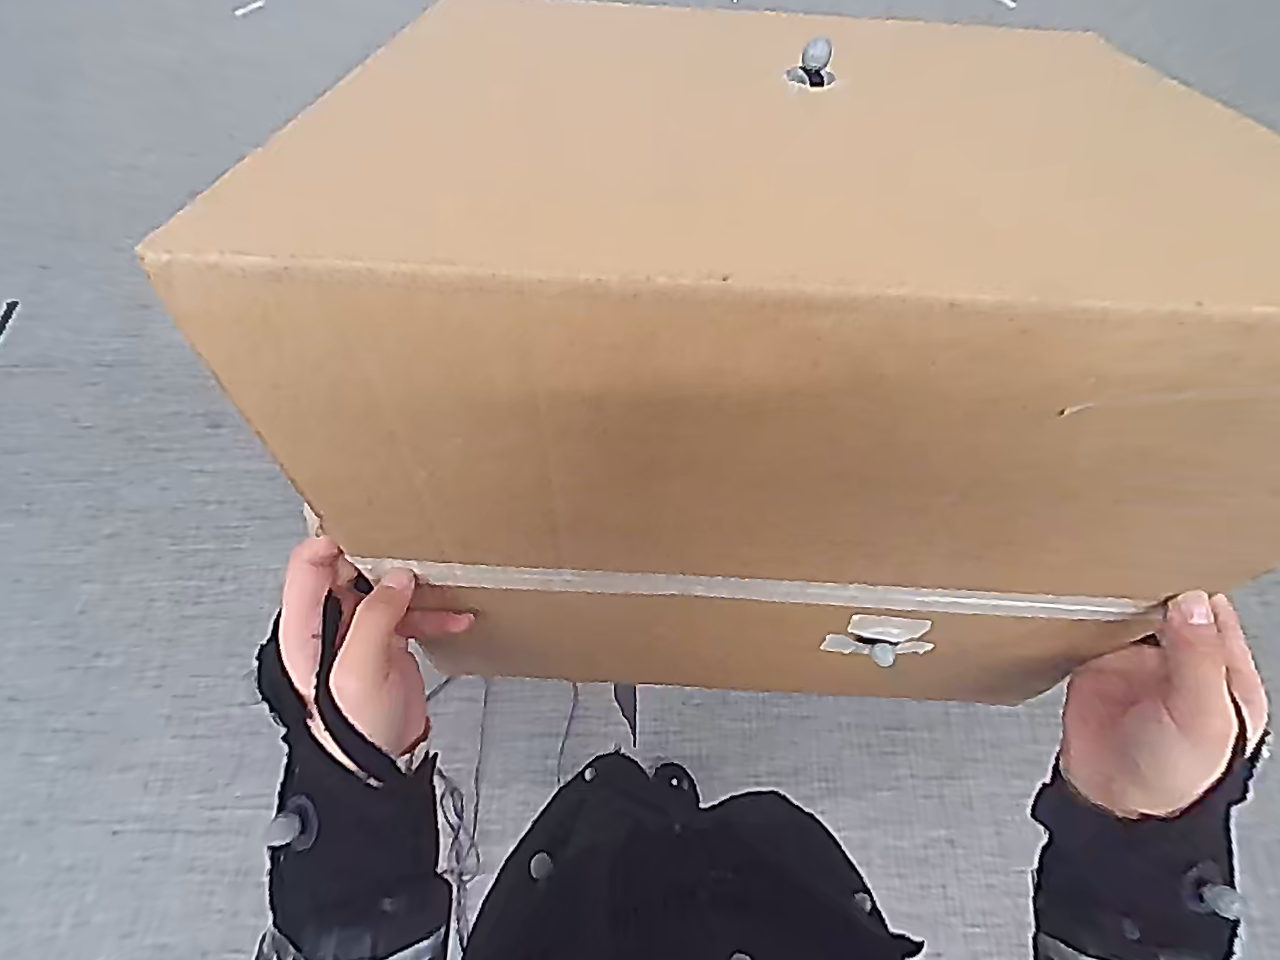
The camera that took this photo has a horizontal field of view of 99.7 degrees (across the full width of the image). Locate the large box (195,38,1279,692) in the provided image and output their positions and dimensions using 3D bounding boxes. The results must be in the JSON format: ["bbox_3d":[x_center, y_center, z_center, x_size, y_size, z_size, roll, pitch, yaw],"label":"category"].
[{"bbox_3d":[0.065,-0.066,0.363,0.408,0.320,0.320,2,52,0],"label":"large box"}]
